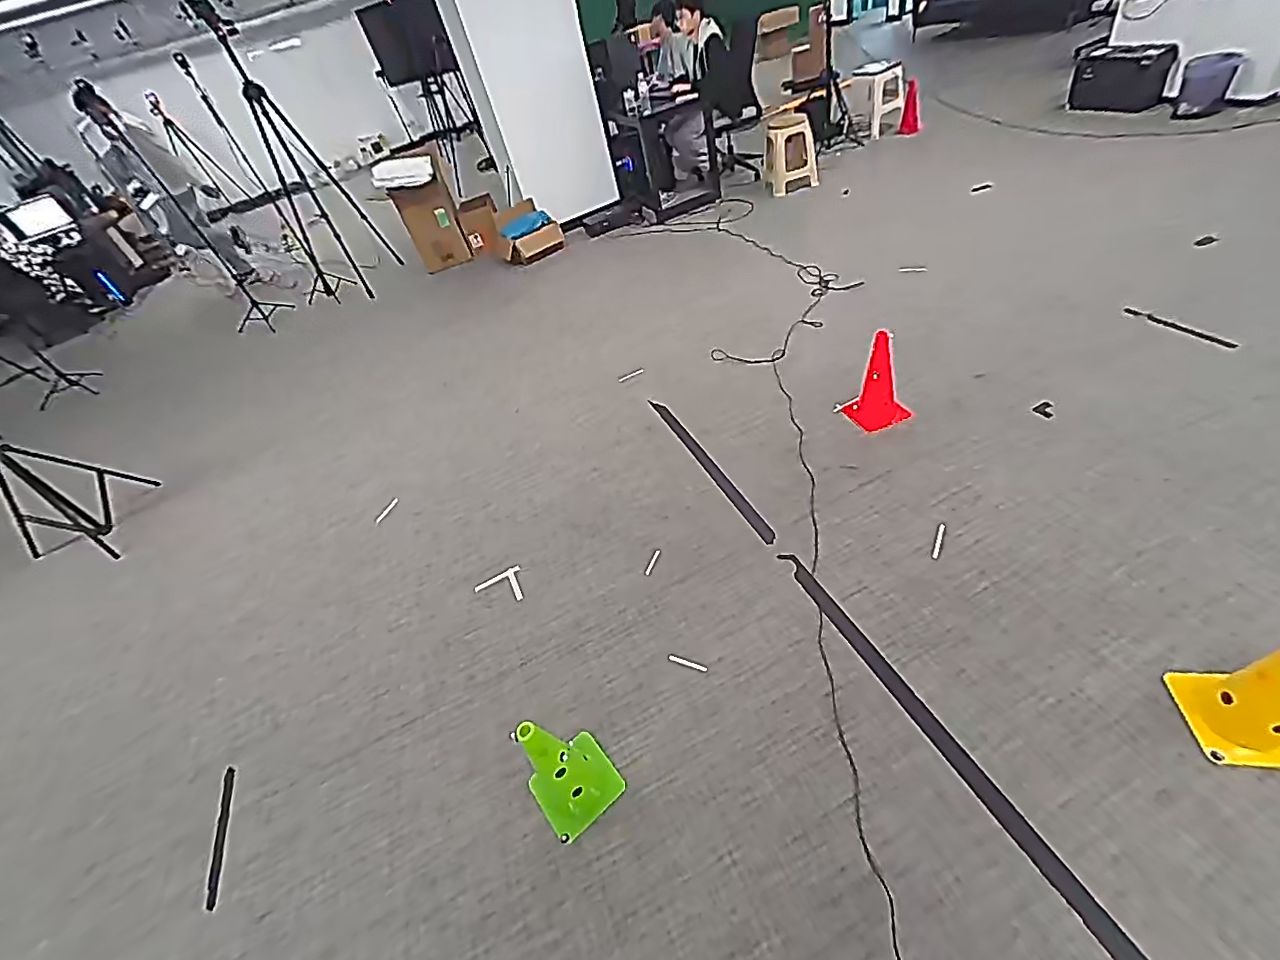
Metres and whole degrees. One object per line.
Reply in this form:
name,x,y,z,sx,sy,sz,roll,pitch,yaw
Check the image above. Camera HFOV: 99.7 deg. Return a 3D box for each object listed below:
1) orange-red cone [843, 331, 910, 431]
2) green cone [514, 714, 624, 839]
orange-red cone,0.895,-0.392,2.023,0.198,0.360,0.199,-21,43,-2
green cone,-0.205,0.654,1.281,0.200,0.368,0.202,-36,43,-20
